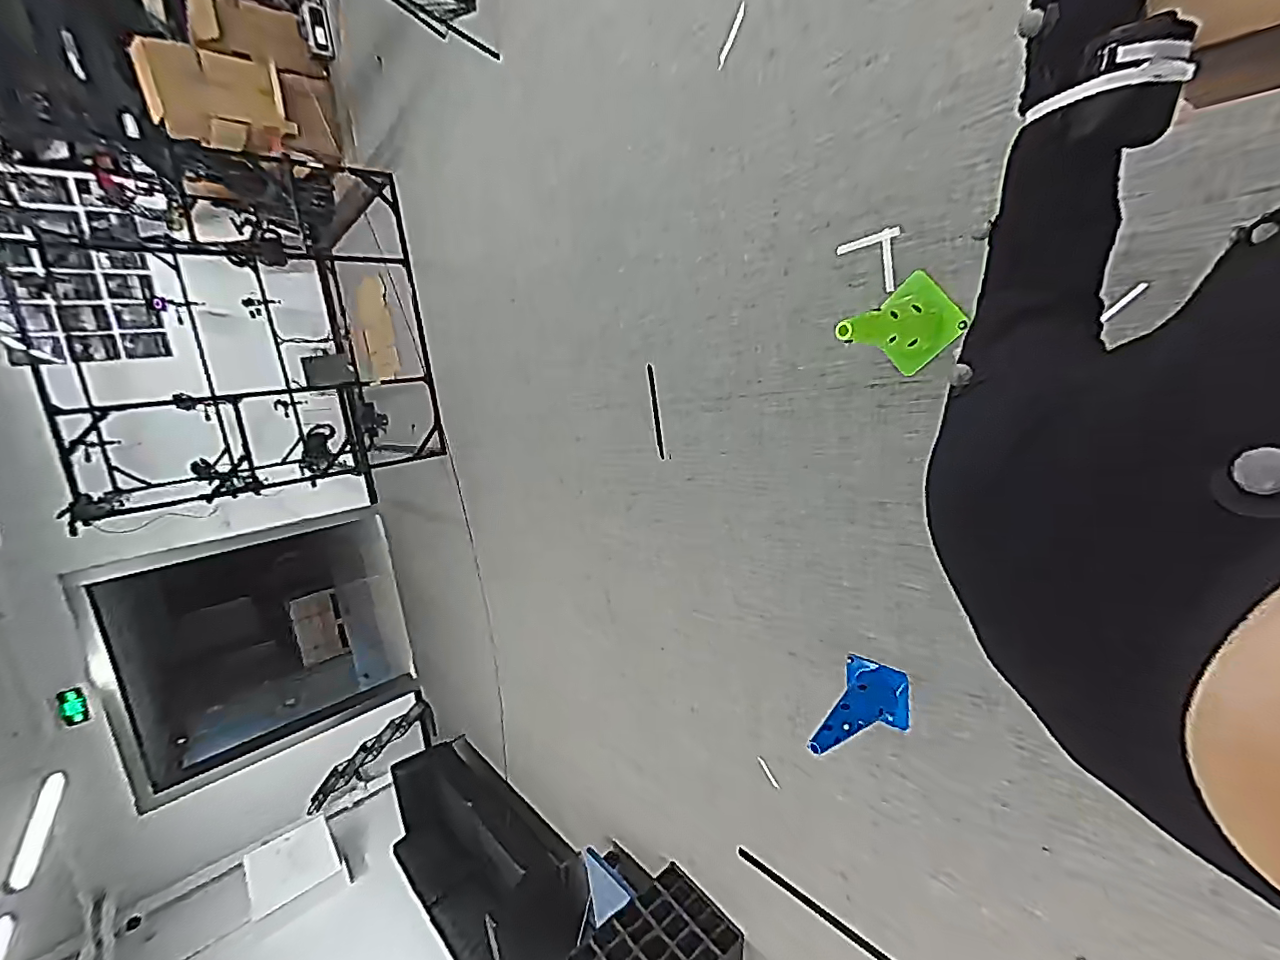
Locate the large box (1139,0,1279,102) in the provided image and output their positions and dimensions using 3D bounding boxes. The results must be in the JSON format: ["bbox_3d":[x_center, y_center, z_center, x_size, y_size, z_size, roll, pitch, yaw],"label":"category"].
[{"bbox_3d":[0.553,-0.452,0.268,0.408,0.320,0.320,12,118,48],"label":"large box"}]

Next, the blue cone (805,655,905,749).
[{"bbox_3d":[0.632,0.707,1.637,0.192,0.380,0.193,11,111,50],"label":"blue cone"}]

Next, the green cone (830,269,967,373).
[{"bbox_3d":[0.578,-0.372,1.300,0.200,0.368,0.202,59,141,19],"label":"green cone"}]
